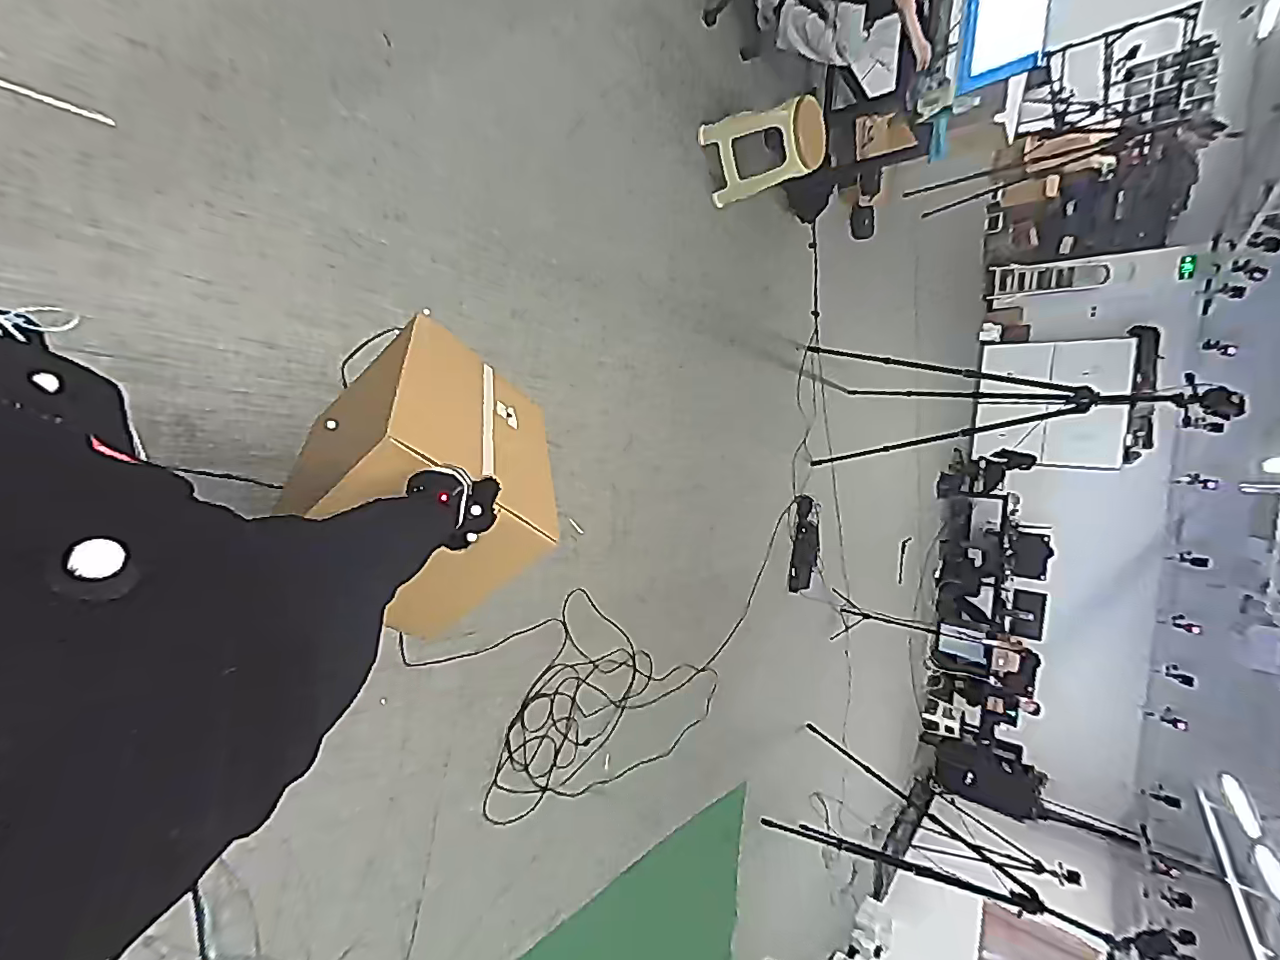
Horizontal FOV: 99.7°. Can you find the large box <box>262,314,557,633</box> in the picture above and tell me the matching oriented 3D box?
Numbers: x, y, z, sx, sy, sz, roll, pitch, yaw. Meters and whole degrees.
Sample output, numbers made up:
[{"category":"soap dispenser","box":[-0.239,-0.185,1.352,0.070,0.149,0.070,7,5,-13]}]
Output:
[{"category":"large box","box":[-0.382,-0.011,0.959,0.320,0.408,0.320,-37,129,15]}]
